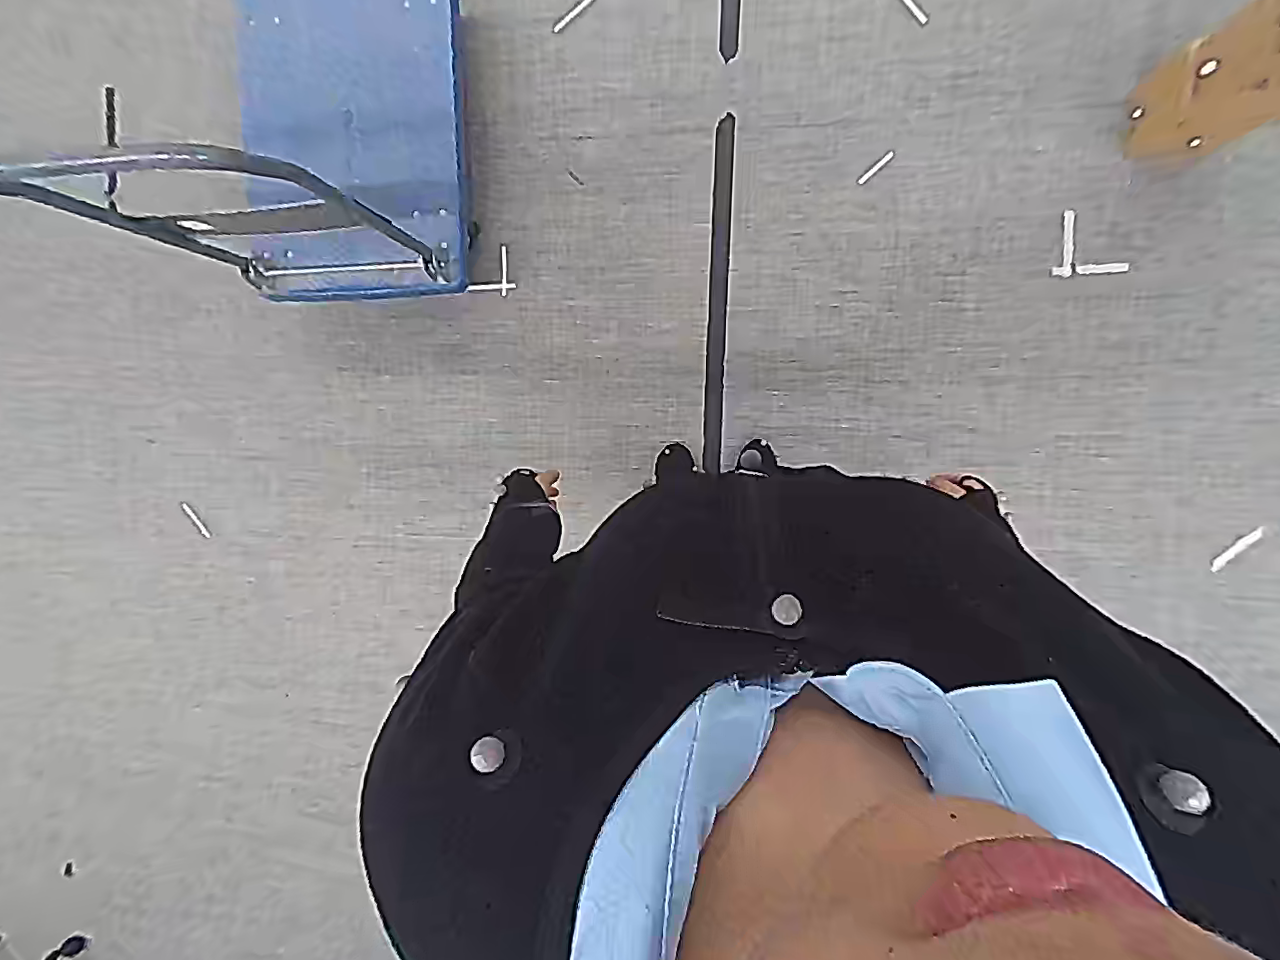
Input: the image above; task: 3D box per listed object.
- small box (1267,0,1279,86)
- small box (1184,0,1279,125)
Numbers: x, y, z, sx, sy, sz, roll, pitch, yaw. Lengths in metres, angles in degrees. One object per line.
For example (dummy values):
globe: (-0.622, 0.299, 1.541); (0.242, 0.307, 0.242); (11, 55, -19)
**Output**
small box: (1.224, -0.801, 0.897); (0.179, 0.176, 0.168); (-6, 93, 8)
small box: (1.244, -0.826, 1.057); (0.179, 0.176, 0.168); (6, 94, 7)
